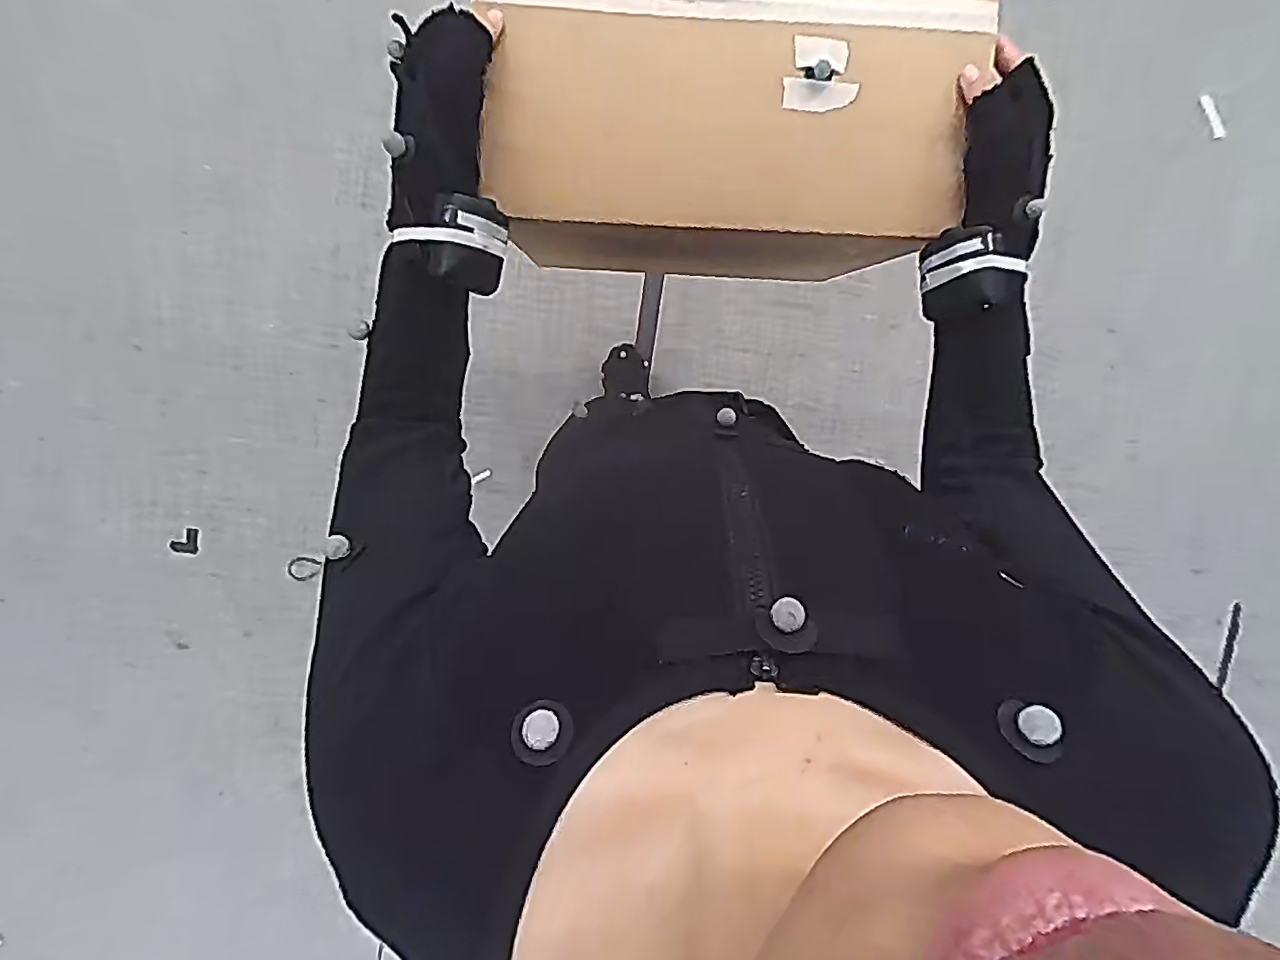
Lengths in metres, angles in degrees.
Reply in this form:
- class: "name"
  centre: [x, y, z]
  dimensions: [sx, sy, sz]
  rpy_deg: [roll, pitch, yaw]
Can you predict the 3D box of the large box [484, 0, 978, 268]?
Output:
- class: "large box"
  centre: [0.066, -0.412, 0.575]
  dimensions: [0.408, 0.320, 0.320]
  rpy_deg: [1, 105, -3]
